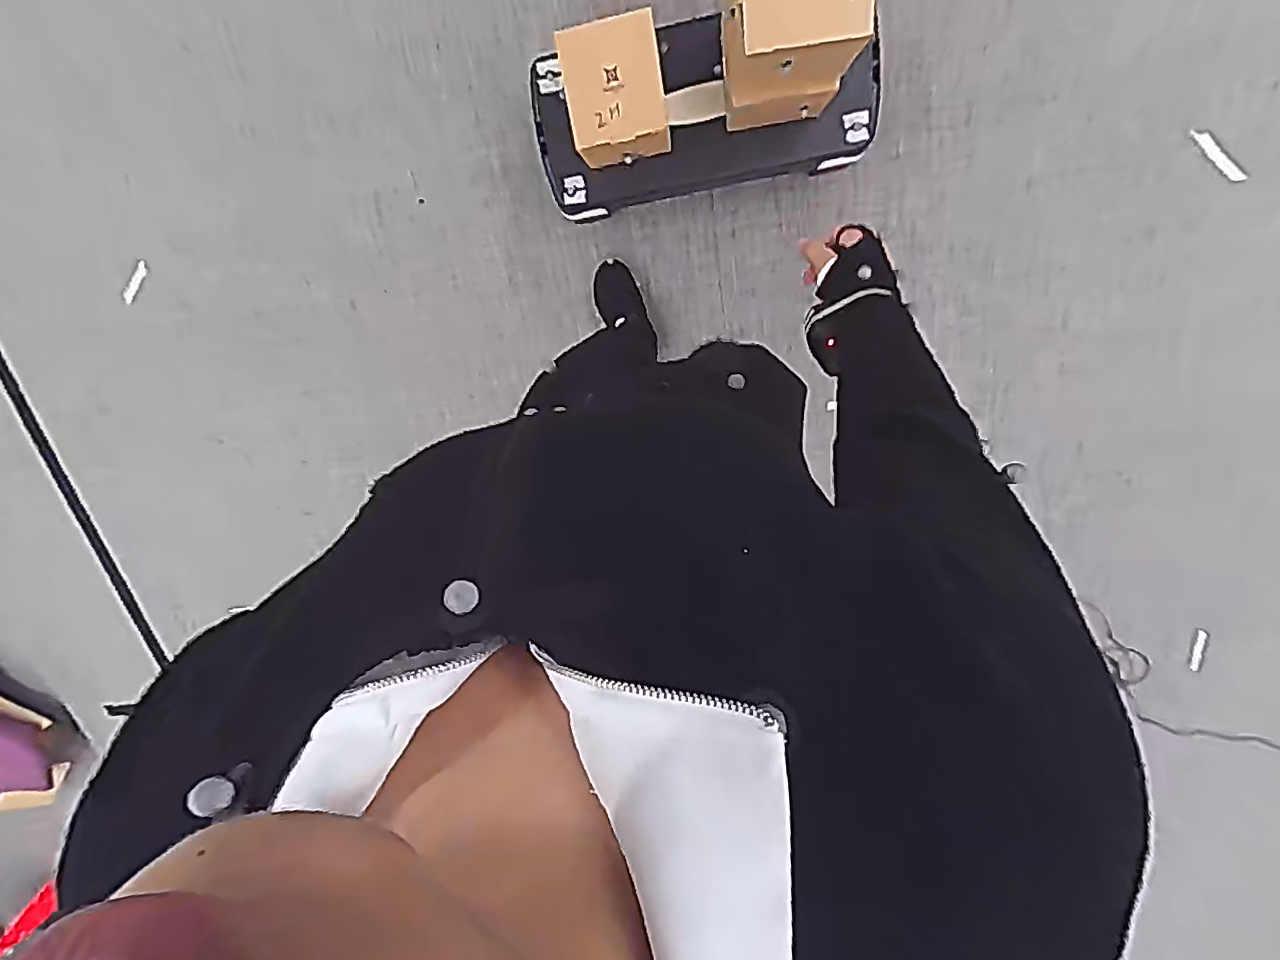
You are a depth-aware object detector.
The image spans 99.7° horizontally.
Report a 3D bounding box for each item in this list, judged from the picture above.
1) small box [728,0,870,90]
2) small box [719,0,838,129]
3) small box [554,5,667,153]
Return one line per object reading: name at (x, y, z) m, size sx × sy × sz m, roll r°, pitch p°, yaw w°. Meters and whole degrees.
small box at (0.219, -0.693, 0.780) m, size 0.179 × 0.176 × 0.168 m, roll -4°, pitch 110°, yaw 6°
small box at (0.231, -0.731, 0.939) m, size 0.179 × 0.176 × 0.168 m, roll -8°, pitch 109°, yaw 7°
small box at (-0.045, -0.693, 0.972) m, size 0.168 × 0.176 × 0.179 m, roll -8°, pitch 110°, yaw 7°
